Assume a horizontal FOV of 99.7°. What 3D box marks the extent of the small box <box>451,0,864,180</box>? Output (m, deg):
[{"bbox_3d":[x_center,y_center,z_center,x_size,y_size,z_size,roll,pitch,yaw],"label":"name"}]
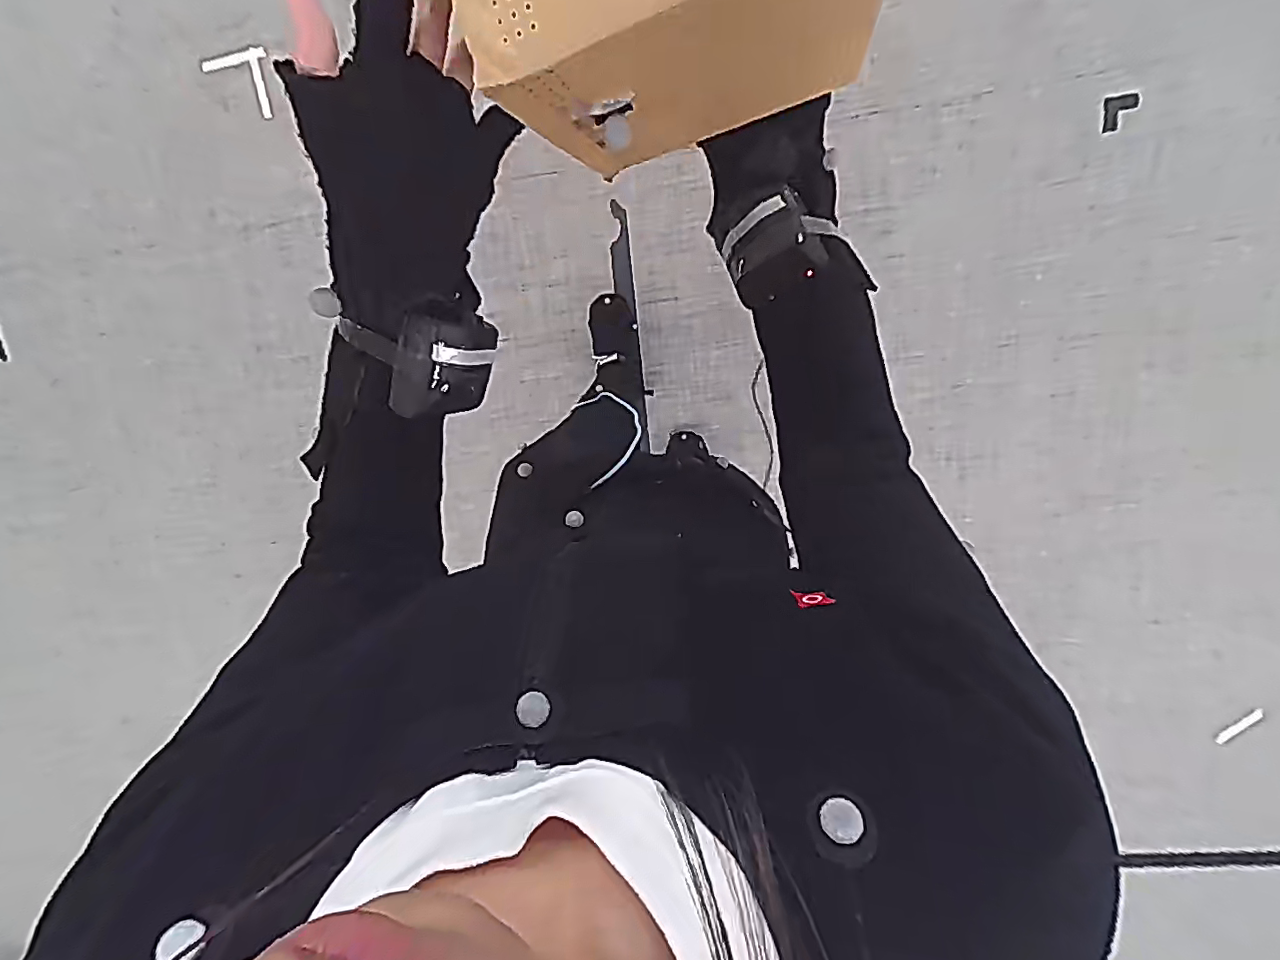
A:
[{"bbox_3d":[0.004,-0.280,0.261,0.176,0.168,0.179,-10,104,18],"label":"small box"}]
